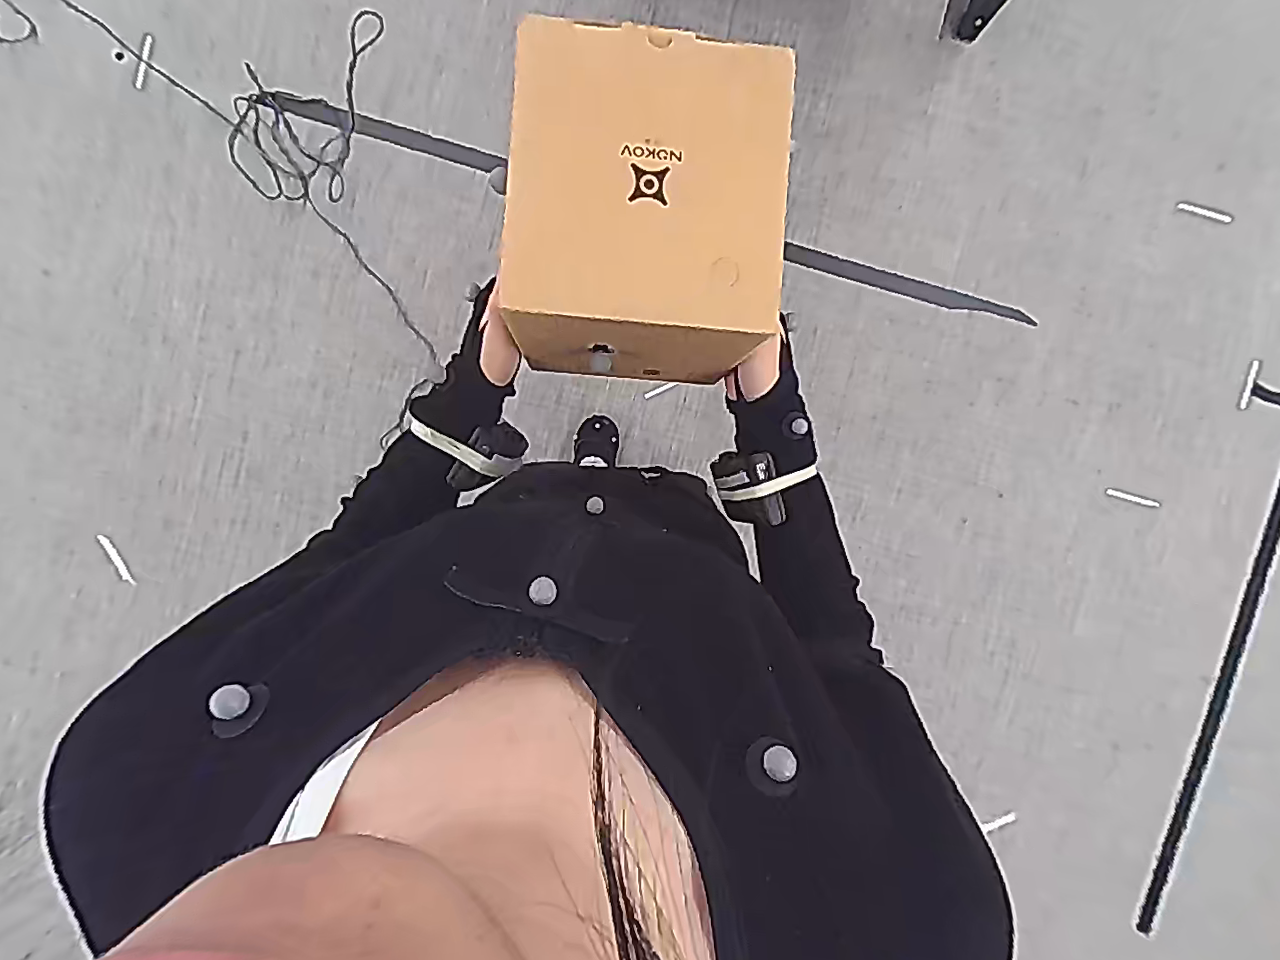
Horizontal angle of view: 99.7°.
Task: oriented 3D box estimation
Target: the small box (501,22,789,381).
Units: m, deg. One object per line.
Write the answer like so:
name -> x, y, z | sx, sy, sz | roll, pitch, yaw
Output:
small box -> -0.001, -0.178, 0.403 | 0.168, 0.176, 0.179 | 4, 88, -5
